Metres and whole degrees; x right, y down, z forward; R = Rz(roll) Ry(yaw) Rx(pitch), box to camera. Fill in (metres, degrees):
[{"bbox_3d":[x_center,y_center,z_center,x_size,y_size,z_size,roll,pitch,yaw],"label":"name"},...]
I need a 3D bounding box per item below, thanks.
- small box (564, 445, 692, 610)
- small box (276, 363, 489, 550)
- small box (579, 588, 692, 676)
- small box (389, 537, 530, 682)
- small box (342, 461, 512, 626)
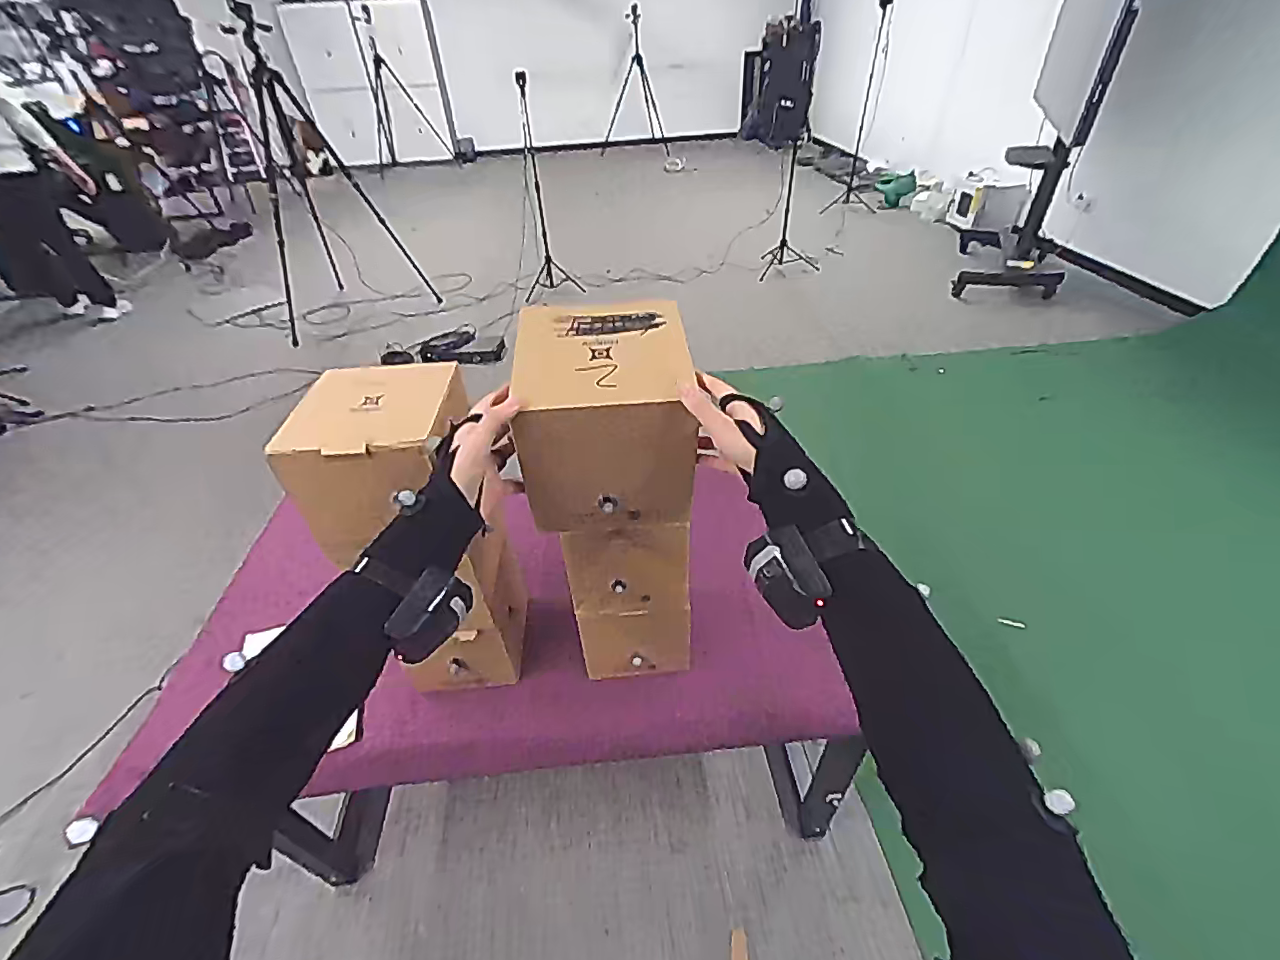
[{"bbox_3d":[-0.018,0.067,0.795,0.168,0.176,0.179,-4,39,-2],"label":"small box"},{"bbox_3d":[-0.296,-0.025,0.672,0.168,0.176,0.179,-3,40,-1],"label":"small box"},{"bbox_3d":[-0.007,0.197,0.895,0.168,0.176,0.179,-5,40,0],"label":"small box"},{"bbox_3d":[-0.282,0.218,0.892,0.168,0.176,0.179,-4,41,-2],"label":"small box"},{"bbox_3d":[-0.289,0.096,0.781,0.168,0.176,0.179,-5,39,-1],"label":"small box"}]
